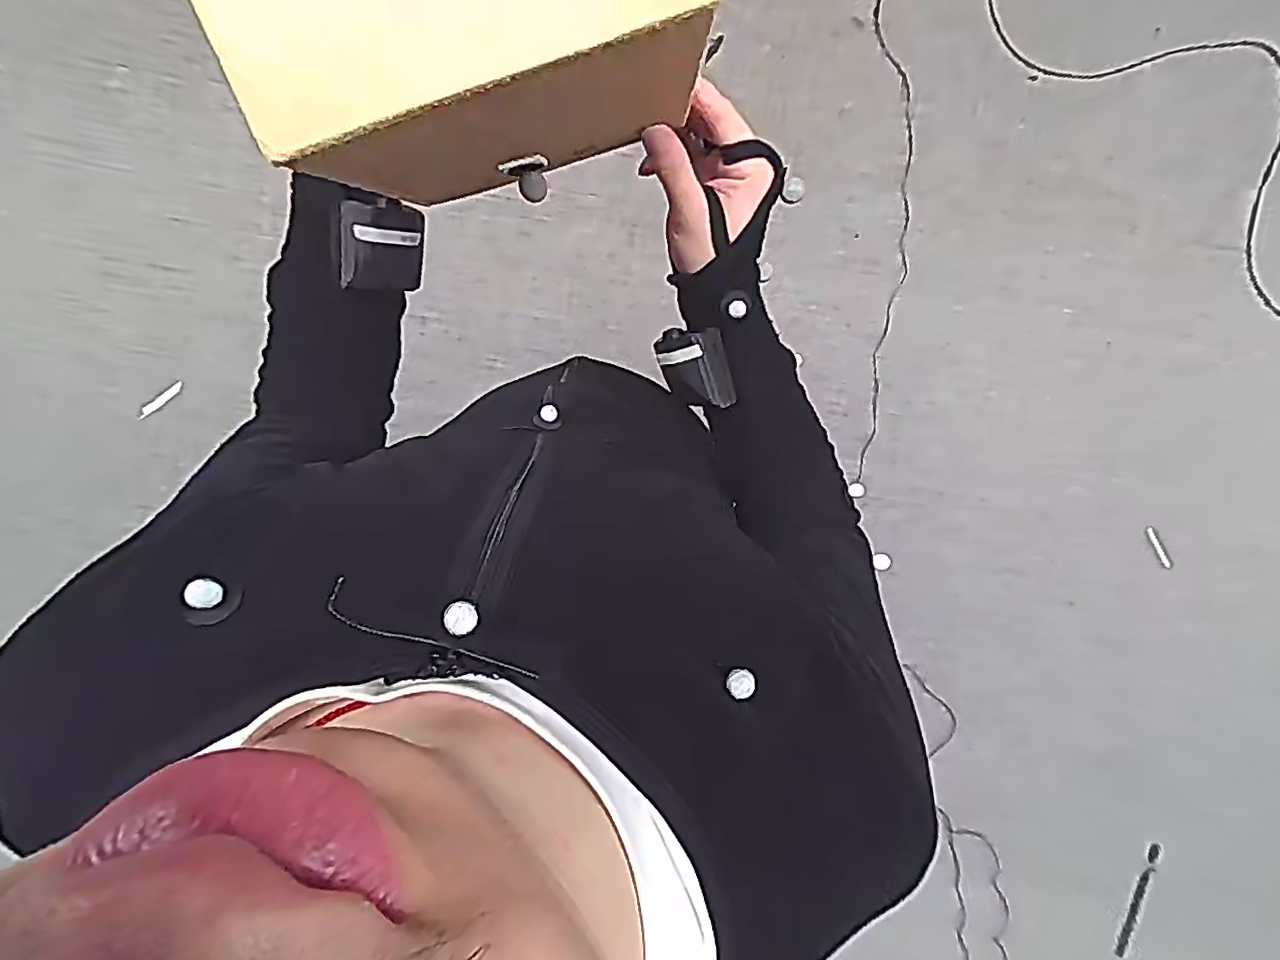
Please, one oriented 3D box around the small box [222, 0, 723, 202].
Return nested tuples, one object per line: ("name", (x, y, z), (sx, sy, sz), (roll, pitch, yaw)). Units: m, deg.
("small box", (-0.072, -0.244, 0.237), (0.168, 0.176, 0.179), (-15, 111, 6))
